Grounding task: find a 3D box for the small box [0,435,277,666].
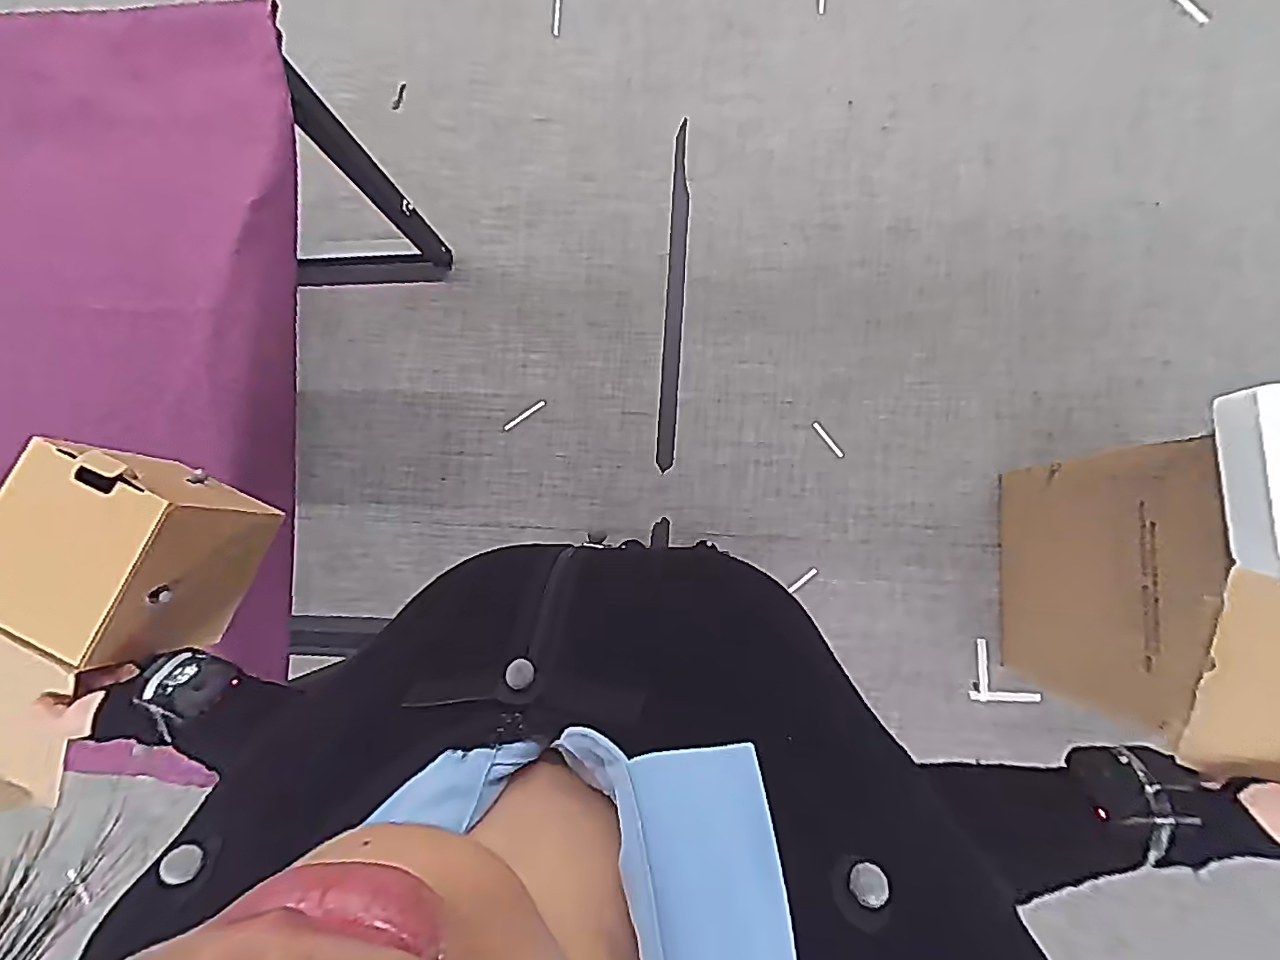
[{"bbox_3d":[-0.558,0.076,0.601,0.168,0.176,0.179,24,83,5],"label":"small box"}]
